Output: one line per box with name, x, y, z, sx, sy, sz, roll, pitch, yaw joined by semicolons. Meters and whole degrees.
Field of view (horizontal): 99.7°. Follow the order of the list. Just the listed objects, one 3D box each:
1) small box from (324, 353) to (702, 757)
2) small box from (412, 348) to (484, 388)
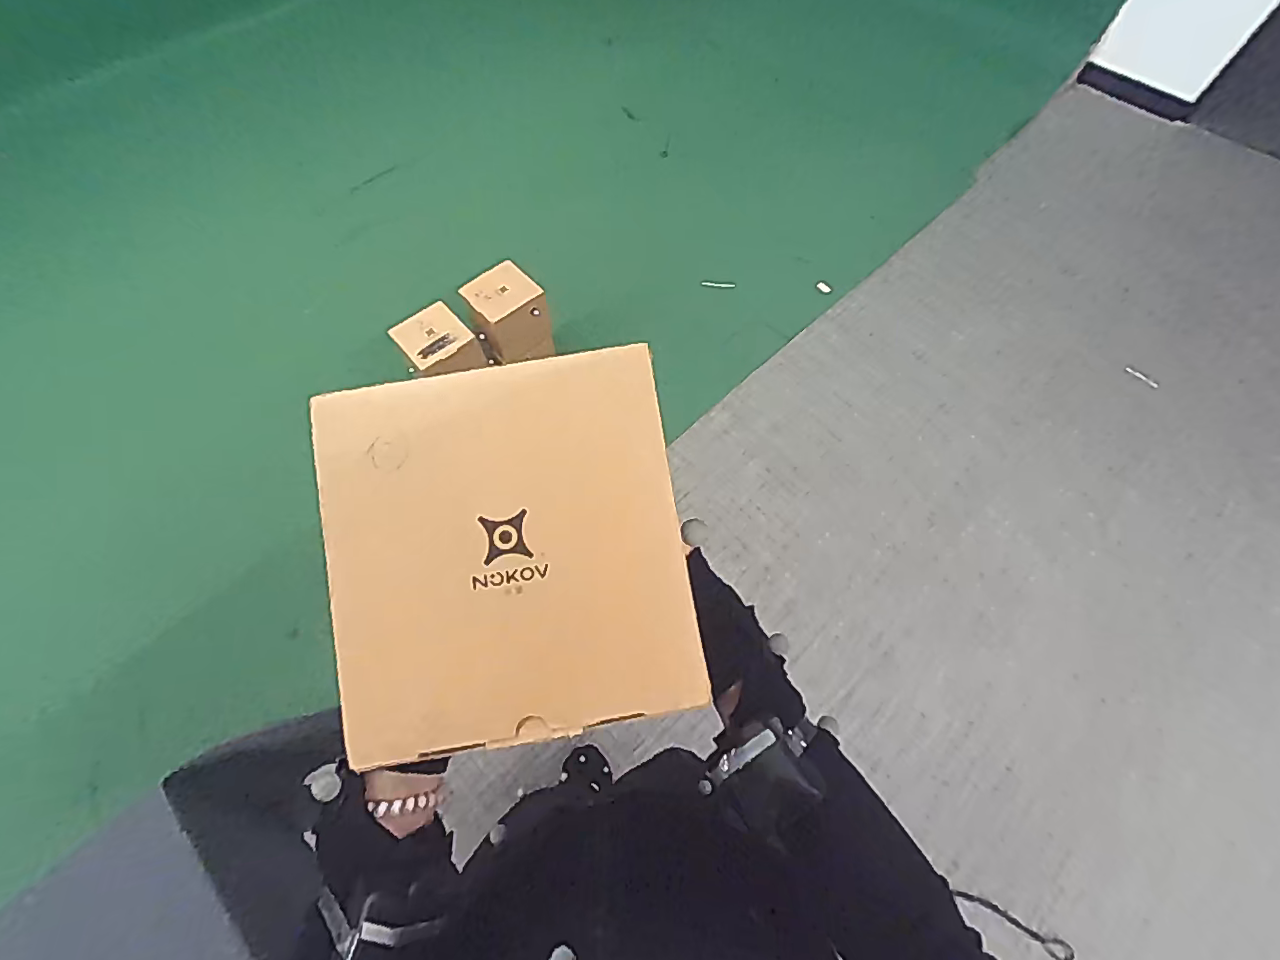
small box;-0.066;0.042;0.343;0.168;0.176;0.179;-10;84;-2
small box;-0.548;-0.257;1.636;0.168;0.176;0.179;-37;69;-16
